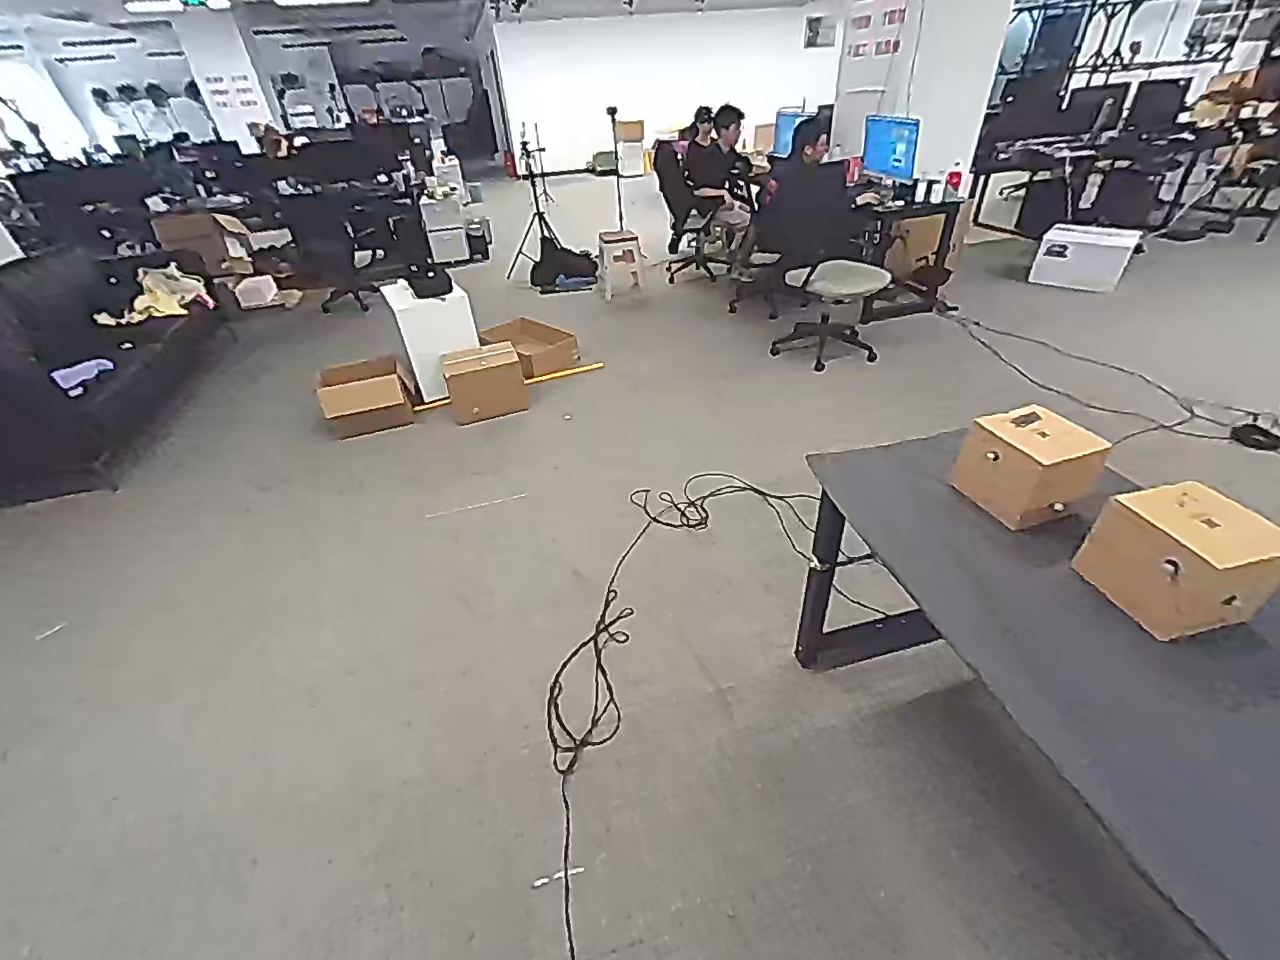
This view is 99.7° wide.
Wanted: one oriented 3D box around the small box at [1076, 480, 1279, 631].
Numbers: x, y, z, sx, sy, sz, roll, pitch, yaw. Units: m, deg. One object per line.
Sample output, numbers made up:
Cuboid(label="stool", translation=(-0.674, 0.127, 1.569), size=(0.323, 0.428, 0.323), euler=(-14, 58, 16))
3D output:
Cuboid(label="small box", translation=(0.881, 0.127, 0.884), size=(0.168, 0.176, 0.179), euler=(-10, 37, -7))

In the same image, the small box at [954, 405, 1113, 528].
Cuboid(label="small box", translation=(0.788, -0.029, 1.107), size=(0.168, 0.176, 0.179), euler=(-14, 38, -11))
